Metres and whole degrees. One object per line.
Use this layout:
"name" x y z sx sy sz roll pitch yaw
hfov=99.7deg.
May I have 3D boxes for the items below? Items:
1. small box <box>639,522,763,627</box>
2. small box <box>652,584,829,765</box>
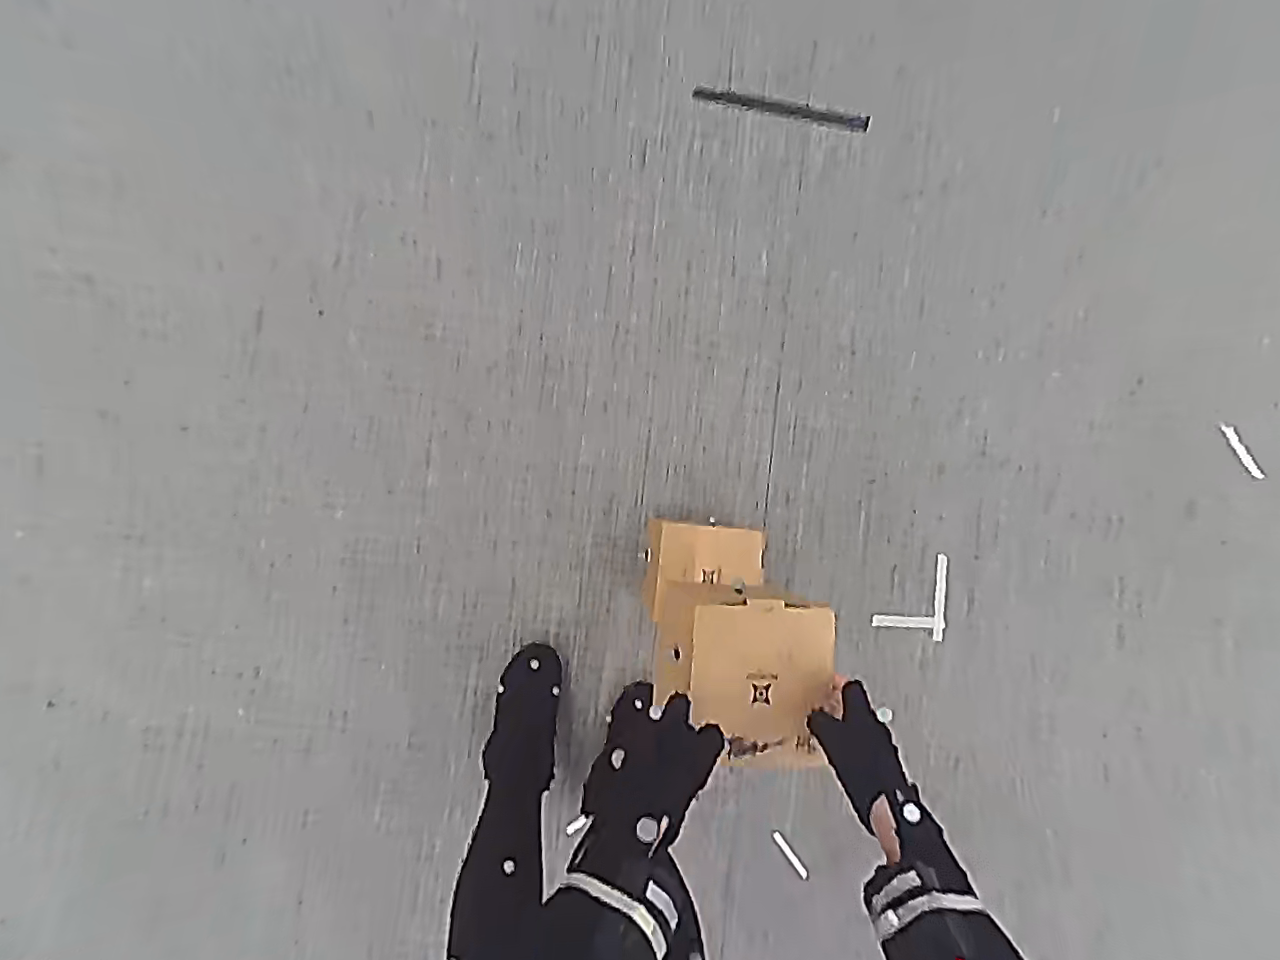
"small box" 0.100 0.165 0.958 0.179 0.176 0.168 6 87 -7
"small box" 0.113 0.227 0.669 0.168 0.176 0.179 5 86 -10
